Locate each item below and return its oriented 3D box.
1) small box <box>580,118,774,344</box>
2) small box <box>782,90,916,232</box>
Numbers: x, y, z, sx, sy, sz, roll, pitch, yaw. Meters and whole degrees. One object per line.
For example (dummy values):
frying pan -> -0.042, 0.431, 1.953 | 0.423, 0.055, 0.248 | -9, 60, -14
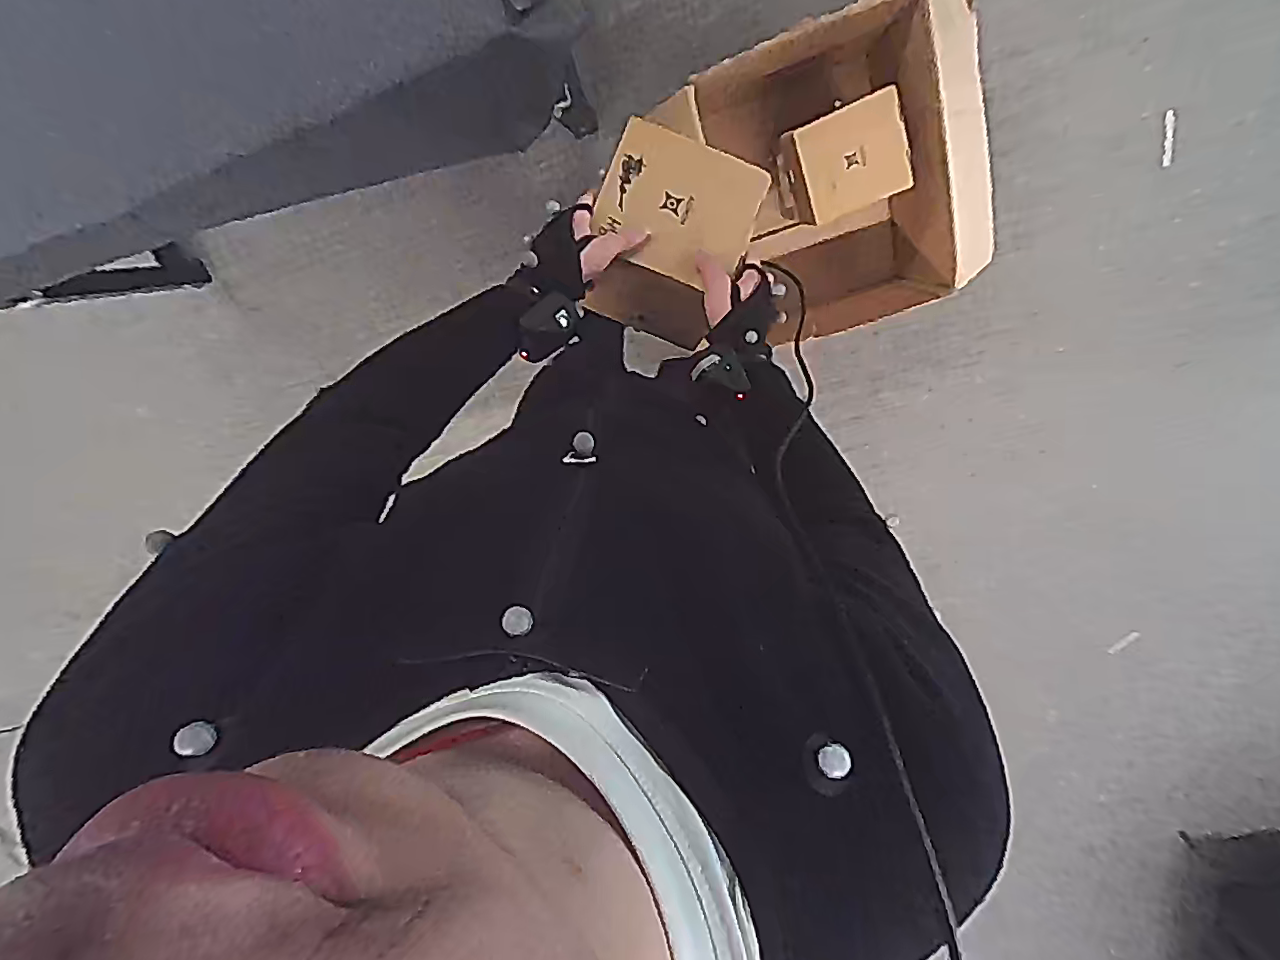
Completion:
small box -> 0.035, -0.291, 0.677 | 0.179, 0.176, 0.168 | 21, 81, -6
small box -> 0.381, -0.585, 1.007 | 0.179, 0.176, 0.168 | -19, 113, 15
